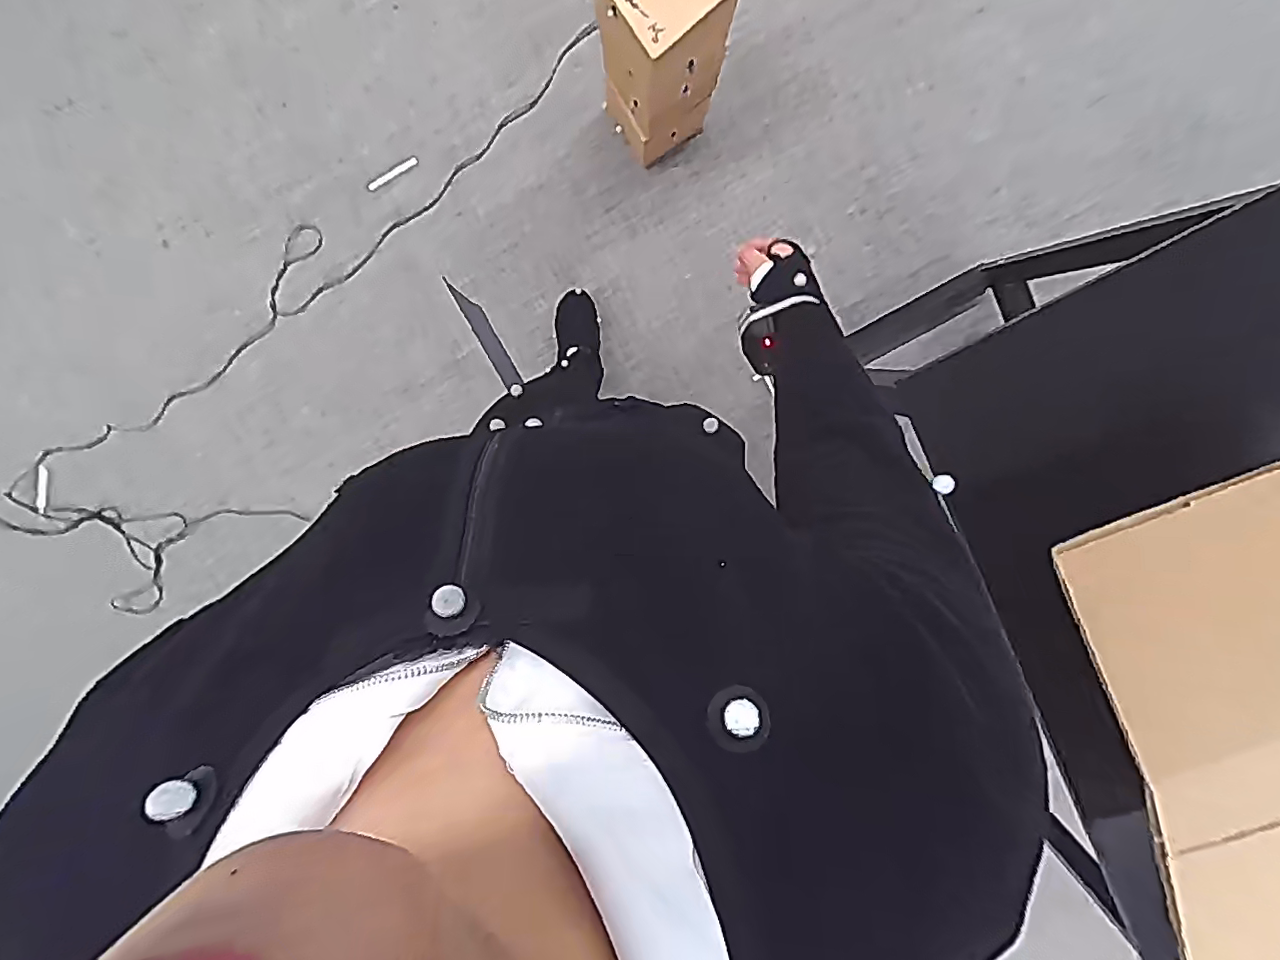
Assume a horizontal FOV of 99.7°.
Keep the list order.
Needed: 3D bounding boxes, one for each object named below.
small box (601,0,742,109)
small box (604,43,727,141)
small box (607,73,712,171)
[{"bbox_3d":[0.043,-0.783,0.908,0.179,0.176,0.168,-37,100,6],"label":"small box"},{"bbox_3d":[0.046,-0.819,1.068,0.179,0.176,0.168,-35,101,5],"label":"small box"},{"bbox_3d":[0.041,-0.848,1.228,0.179,0.176,0.168,-31,100,7],"label":"small box"}]
